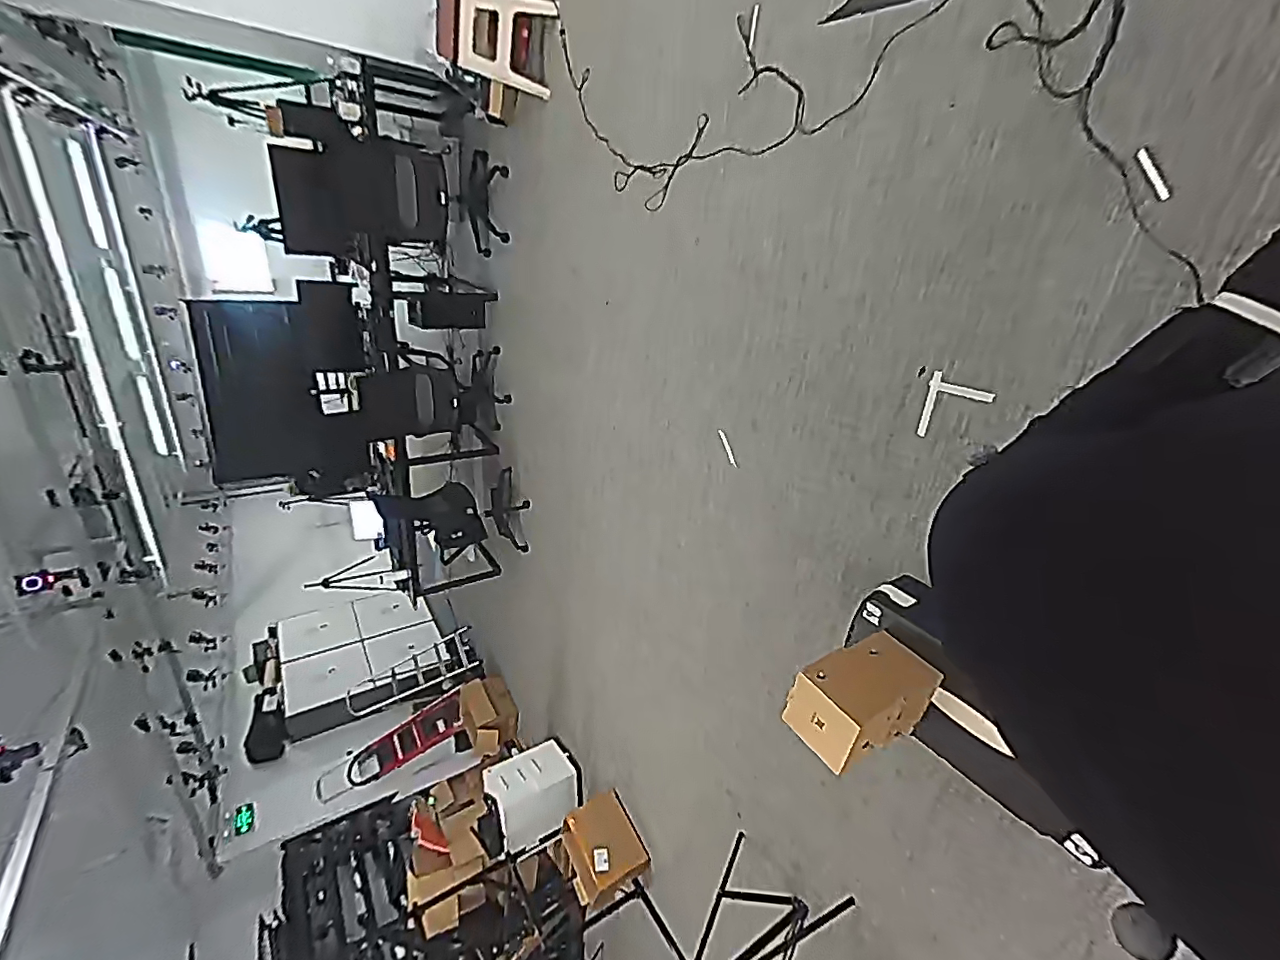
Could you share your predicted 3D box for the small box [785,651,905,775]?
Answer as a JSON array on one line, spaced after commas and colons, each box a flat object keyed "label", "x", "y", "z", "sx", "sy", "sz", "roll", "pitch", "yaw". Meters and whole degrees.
[{"label": "small box", "x": 0.473, "y": 0.527, "z": 1.251, "sx": 0.179, "sy": 0.176, "sz": 0.168, "roll": 40, "pitch": 131, "yaw": 46}]

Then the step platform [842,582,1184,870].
[{"label": "step platform", "x": 0.833, "y": 0.552, "z": 1.329, "sx": 0.684, "sy": 0.204, "sz": 0.286, "roll": 35, "pitch": 128, "yaw": 47}]
